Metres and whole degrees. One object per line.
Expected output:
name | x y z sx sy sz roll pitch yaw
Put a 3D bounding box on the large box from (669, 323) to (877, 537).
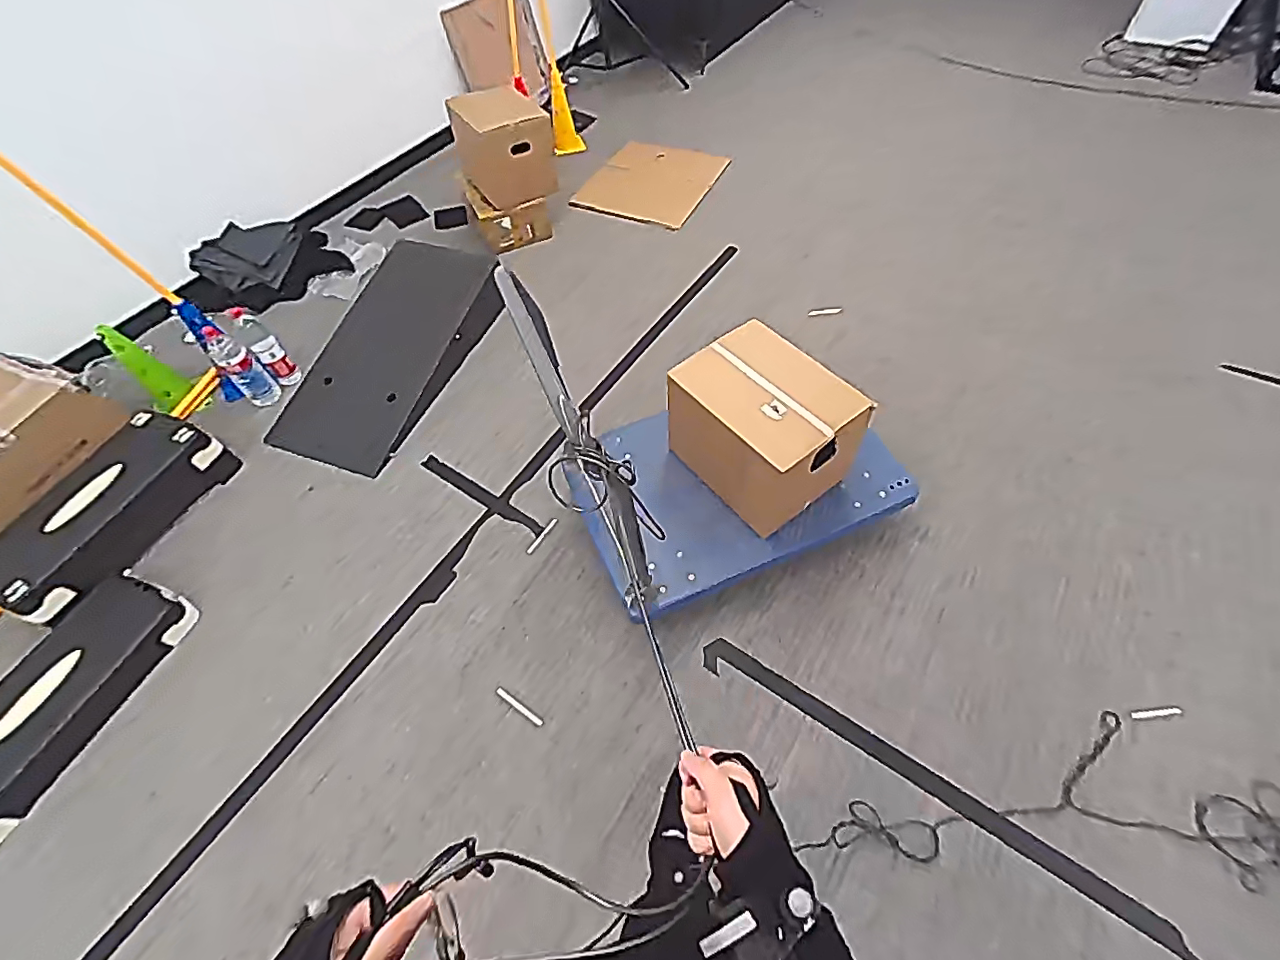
large box | 0.317 -0.132 1.423 0.320 0.320 0.408 -34 61 -17
